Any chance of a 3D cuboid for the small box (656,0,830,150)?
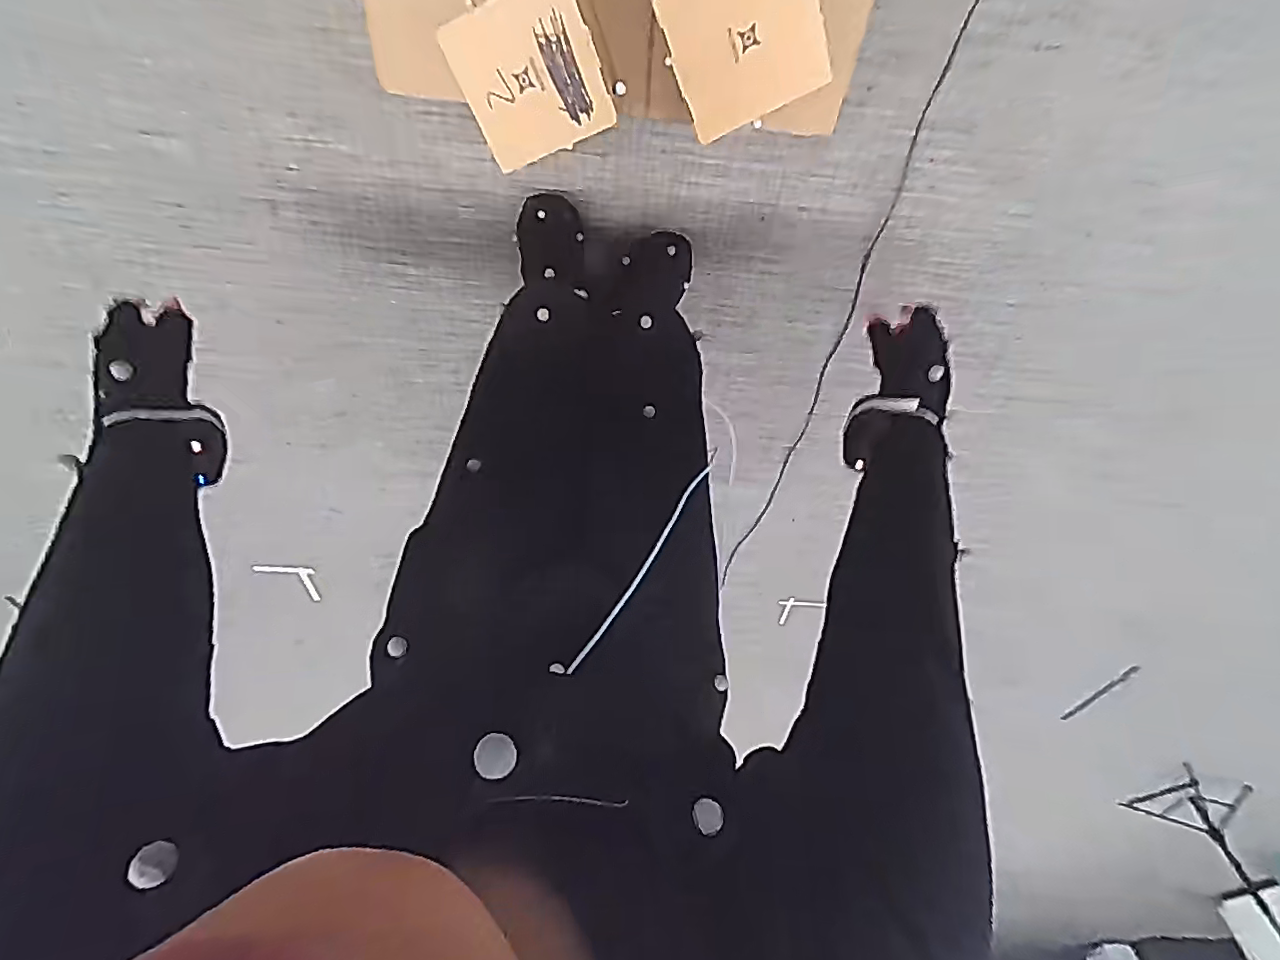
[{"bbox_3d":[0.132,-0.577,0.714,0.179,0.176,0.168,-17,128,19],"label":"small box"}]
